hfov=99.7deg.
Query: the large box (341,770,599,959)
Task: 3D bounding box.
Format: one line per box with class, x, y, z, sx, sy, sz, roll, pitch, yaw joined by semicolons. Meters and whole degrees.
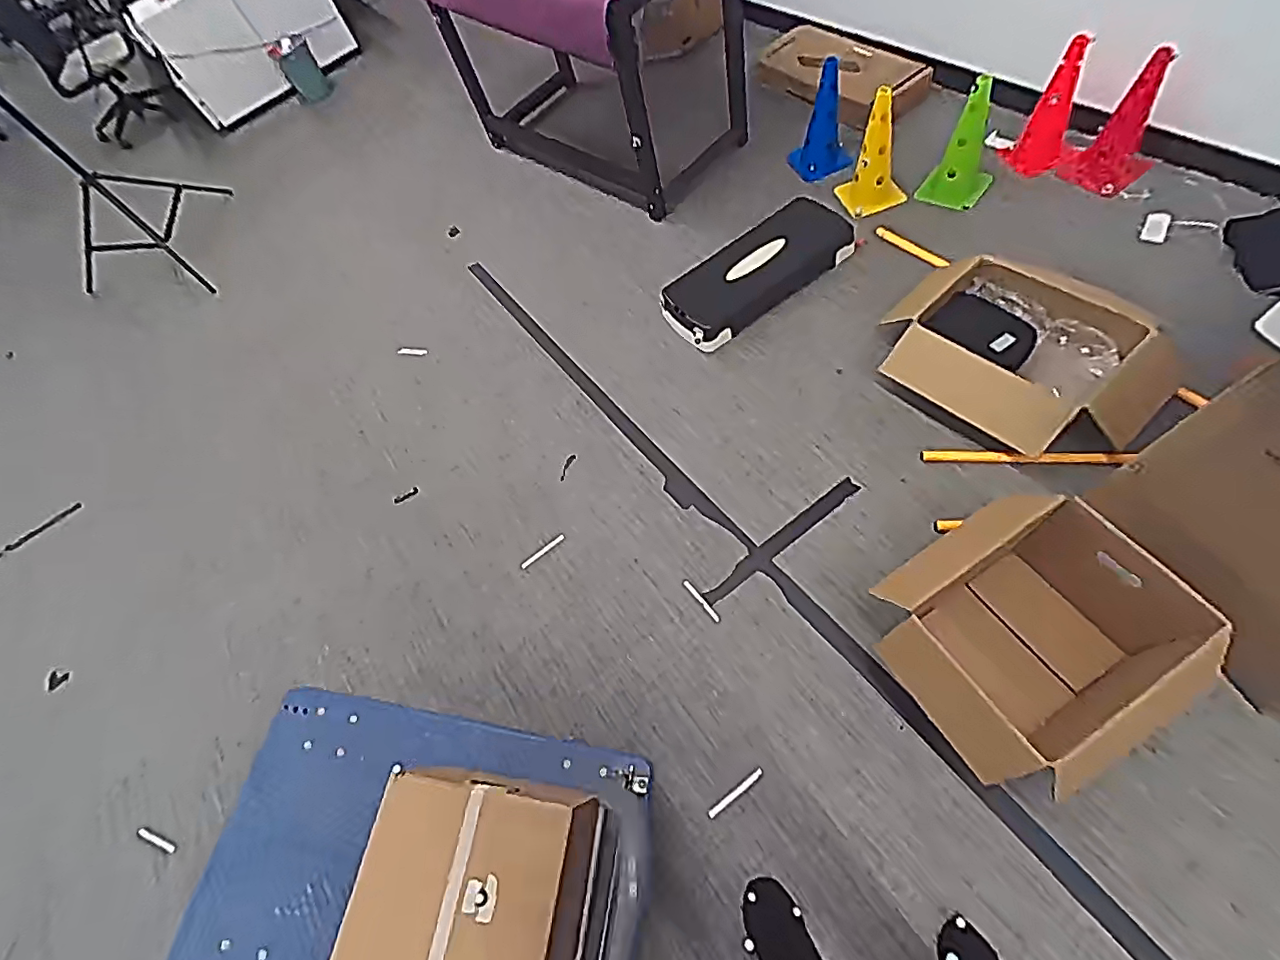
large box;-0.271;0.747;0.923;0.320;0.320;0.408;8;63;6
